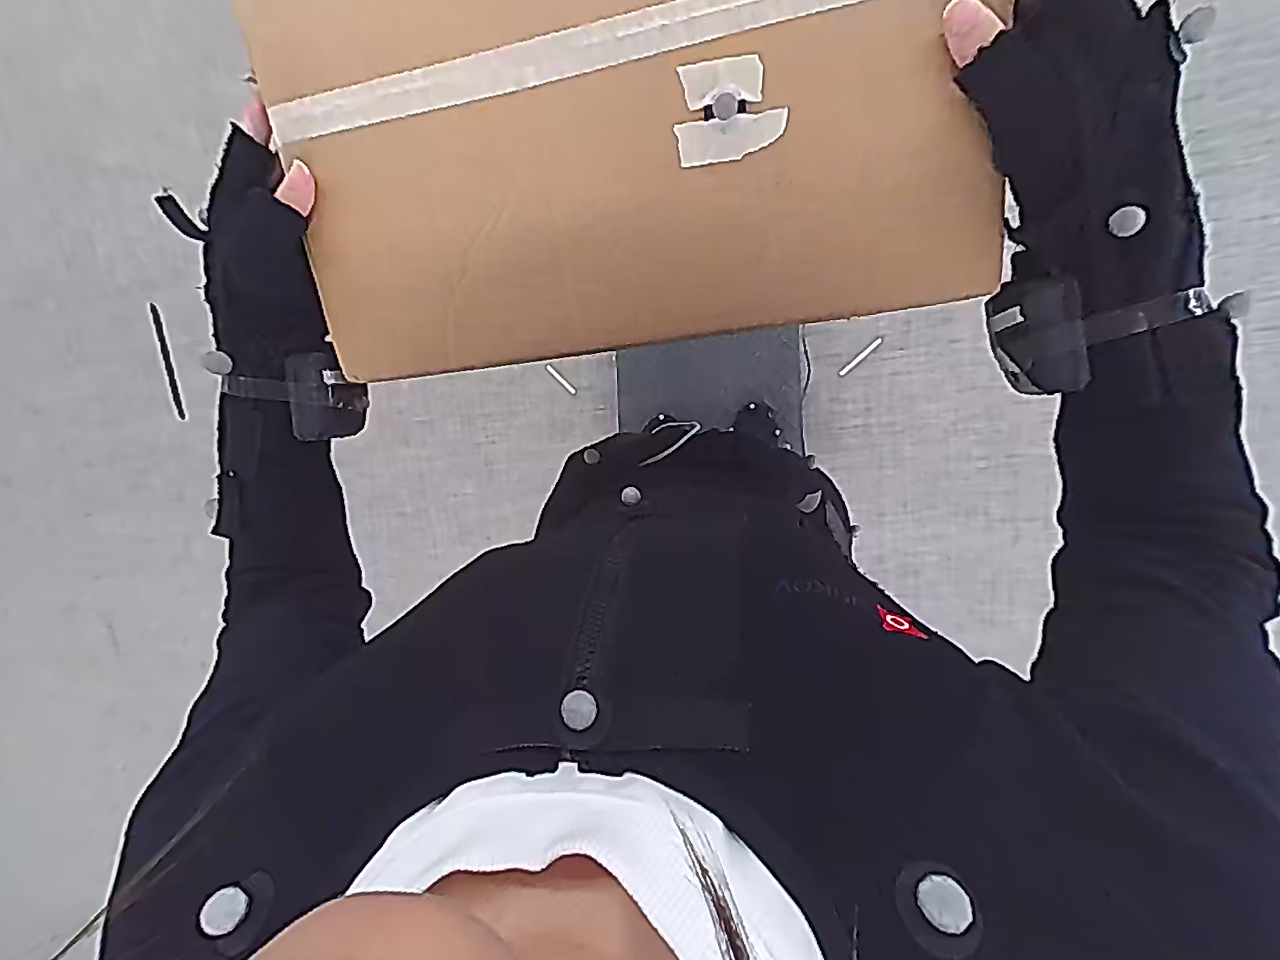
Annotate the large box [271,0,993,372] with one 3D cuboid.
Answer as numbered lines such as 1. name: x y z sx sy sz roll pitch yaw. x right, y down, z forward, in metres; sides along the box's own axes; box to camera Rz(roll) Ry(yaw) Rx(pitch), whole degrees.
1. large box: 0.003 -0.282 0.445 0.408 0.320 0.320 -6 106 10
